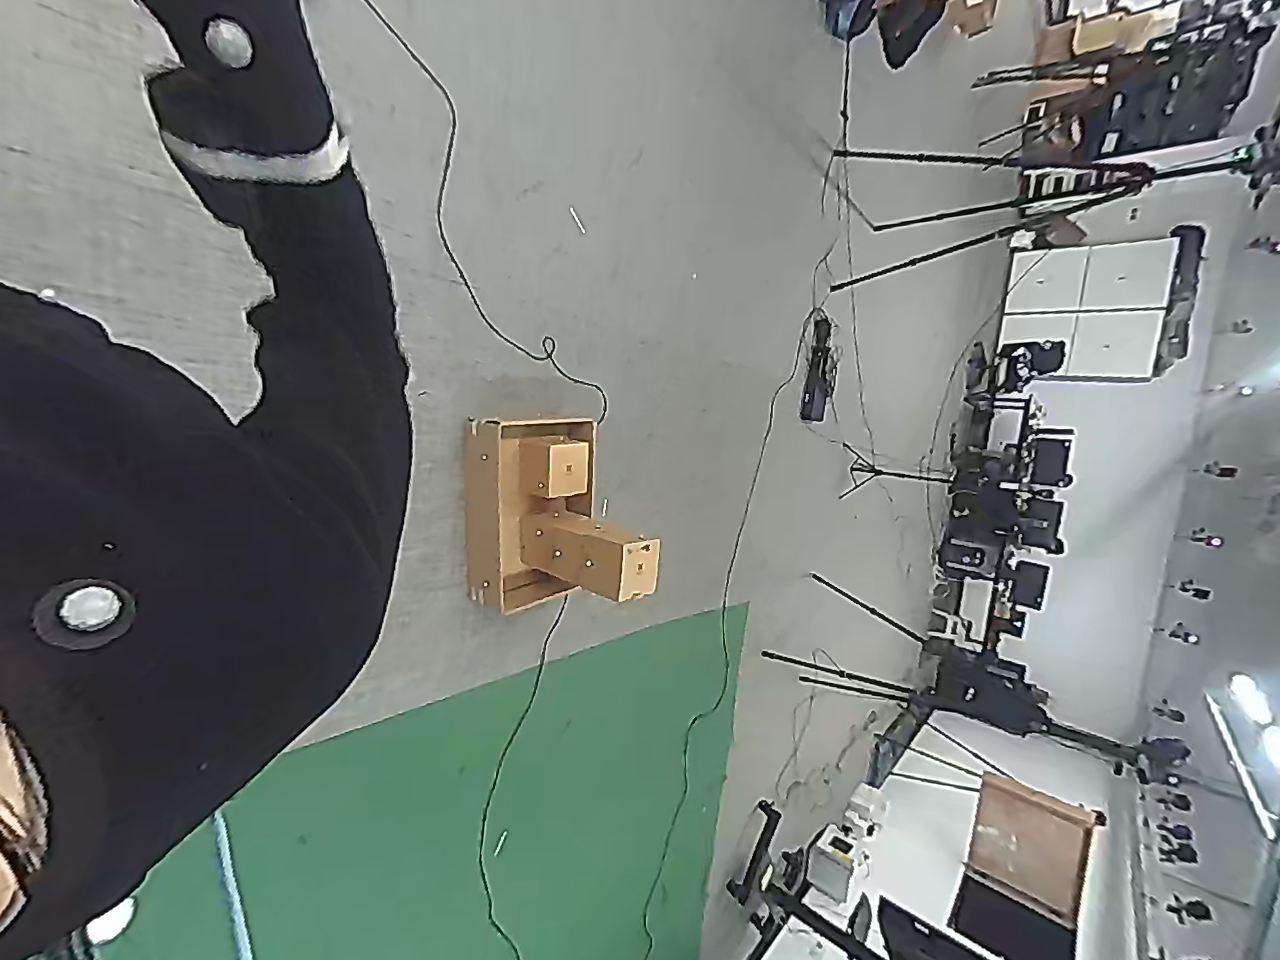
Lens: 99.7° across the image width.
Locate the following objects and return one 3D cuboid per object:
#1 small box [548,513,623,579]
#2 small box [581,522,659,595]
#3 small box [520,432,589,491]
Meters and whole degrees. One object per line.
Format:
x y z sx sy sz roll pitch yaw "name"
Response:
-0.180 0.209 1.782 0.179 0.176 0.168 -7 104 -48 "small box"
-0.065 0.236 1.664 0.168 0.176 0.179 -2 100 -49 "small box"
-0.293 -0.069 1.833 0.168 0.176 0.179 -9 108 -47 "small box"
